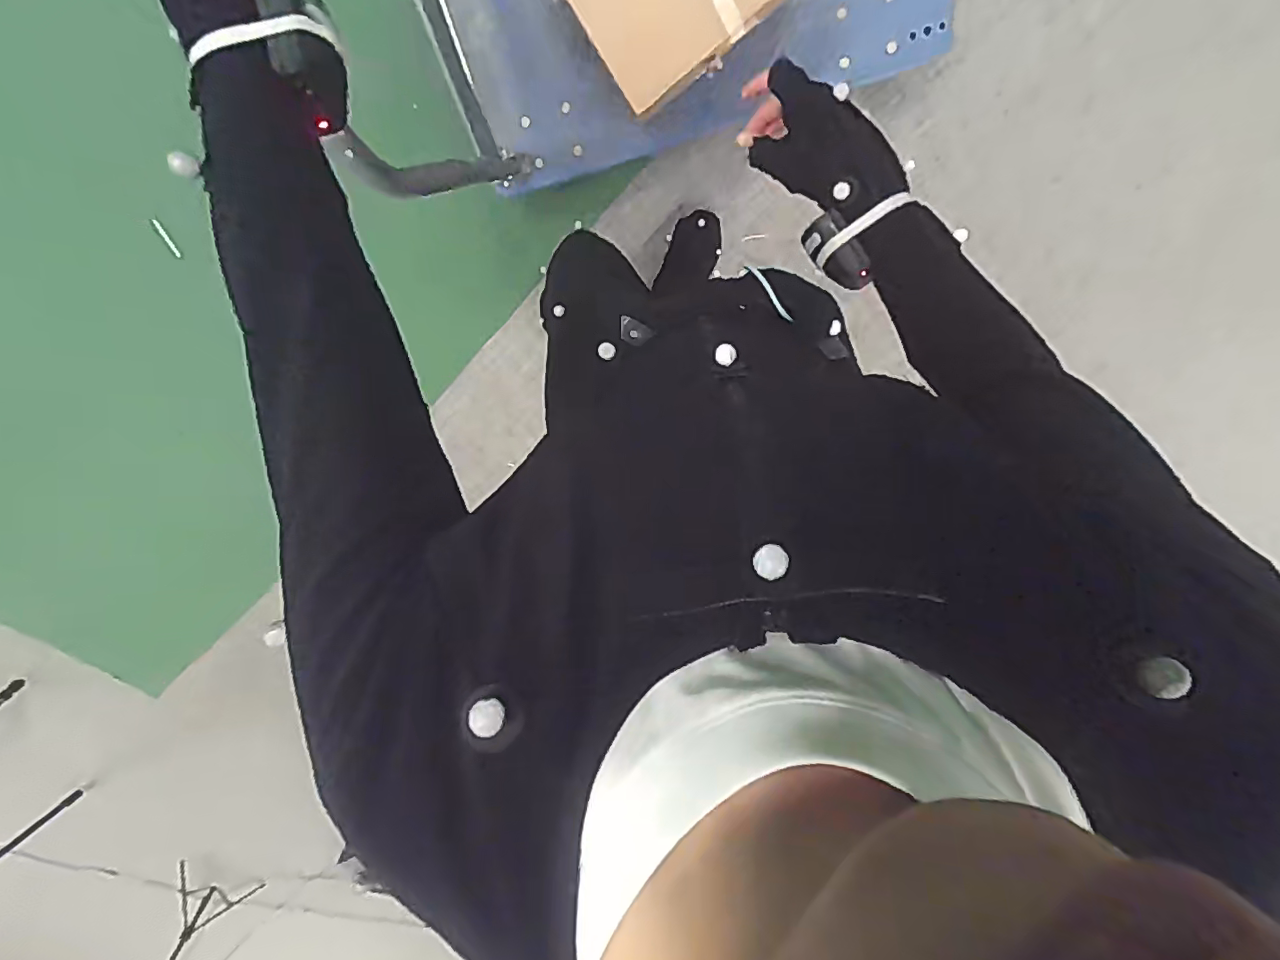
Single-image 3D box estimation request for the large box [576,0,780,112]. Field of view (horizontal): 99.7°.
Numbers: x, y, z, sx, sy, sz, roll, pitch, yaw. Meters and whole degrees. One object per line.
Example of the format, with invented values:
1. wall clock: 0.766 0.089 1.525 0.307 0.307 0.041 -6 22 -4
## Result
1. large box: 0.016 -0.807 0.742 0.320 0.320 0.408 -30 116 18
